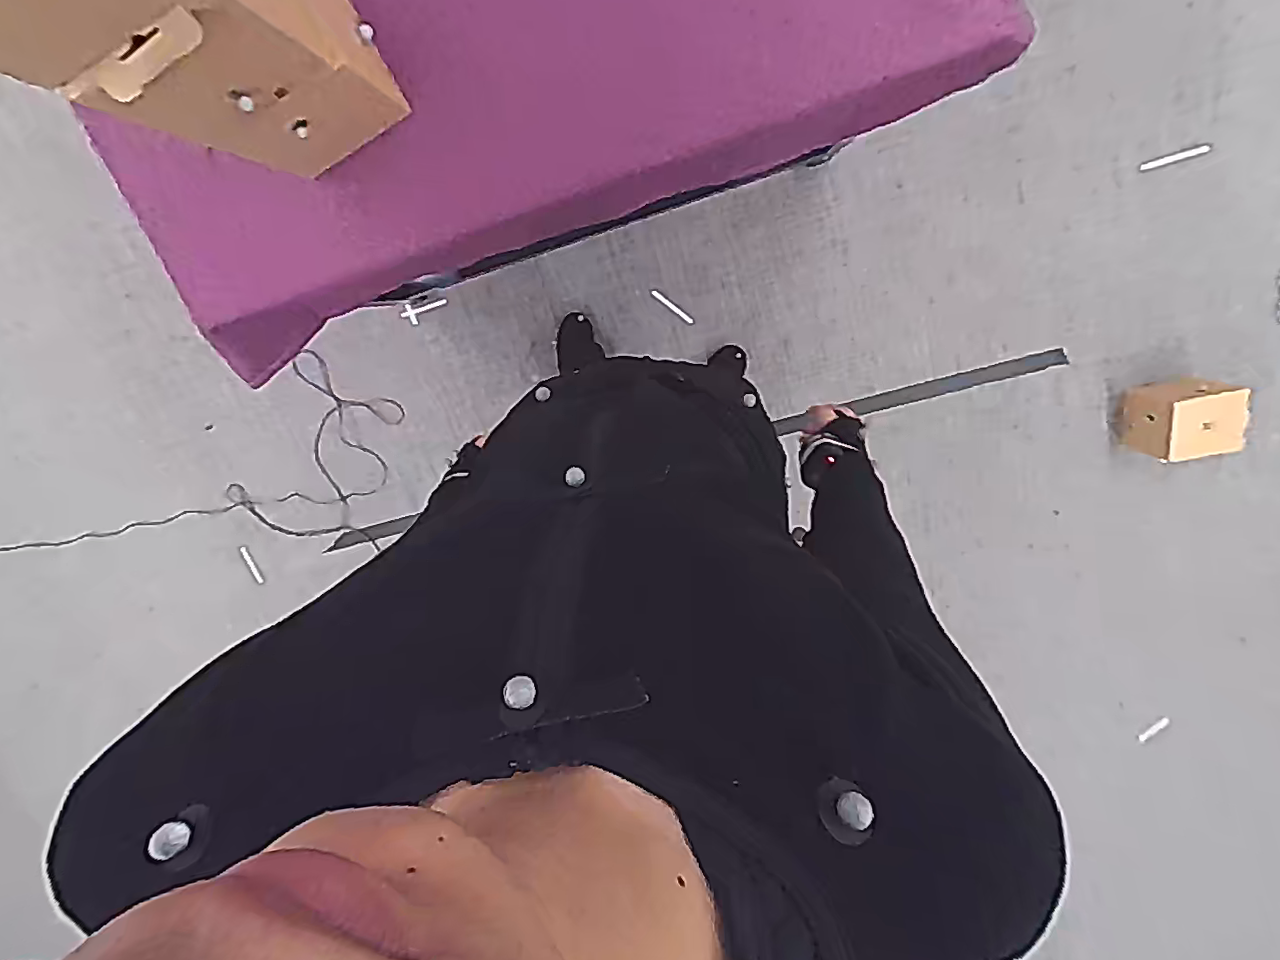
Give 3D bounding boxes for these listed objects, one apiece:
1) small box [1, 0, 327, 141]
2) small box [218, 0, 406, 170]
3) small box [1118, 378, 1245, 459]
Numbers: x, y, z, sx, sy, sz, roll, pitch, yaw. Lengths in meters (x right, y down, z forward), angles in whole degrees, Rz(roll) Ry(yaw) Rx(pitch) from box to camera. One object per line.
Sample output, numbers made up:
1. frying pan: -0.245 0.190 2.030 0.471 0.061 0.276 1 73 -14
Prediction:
1. small box: -0.441 -0.454 0.492 0.168 0.176 0.179 -26 106 12
2. small box: -0.424 -0.506 0.648 0.179 0.176 0.168 -25 106 10
3. small box: 1.441 -0.168 1.452 0.179 0.176 0.168 -11 109 6
